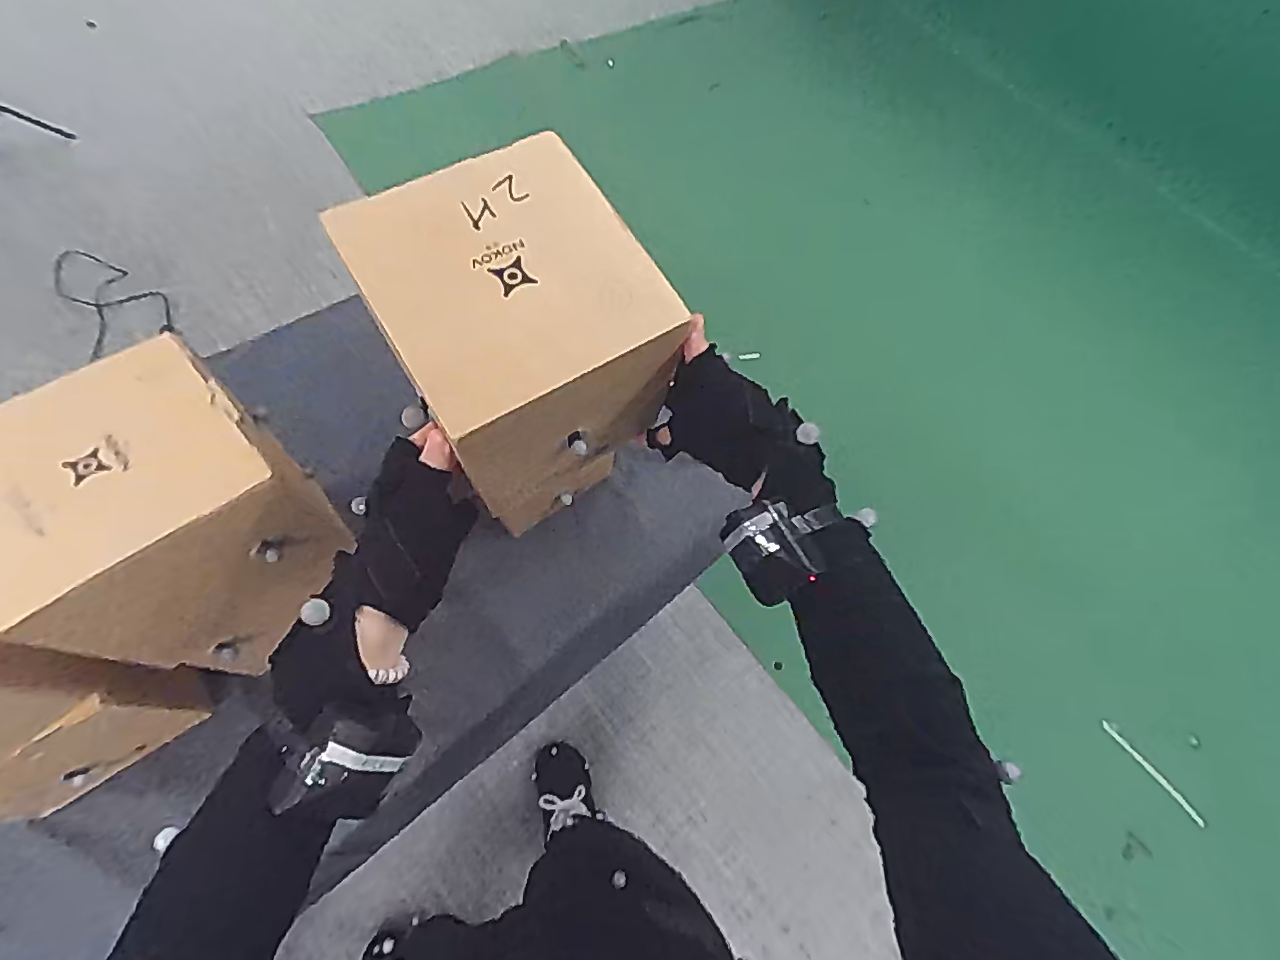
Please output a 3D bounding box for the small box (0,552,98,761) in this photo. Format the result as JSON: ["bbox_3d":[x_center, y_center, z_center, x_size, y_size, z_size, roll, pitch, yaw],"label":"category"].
[{"bbox_3d":[-0.556,0.141,0.369,0.168,0.176,0.179,44,68,11],"label":"small box"}]

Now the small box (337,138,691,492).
[{"bbox_3d":[-0.087,-0.107,0.418,0.168,0.176,0.179,-31,77,-16],"label":"small box"}]
